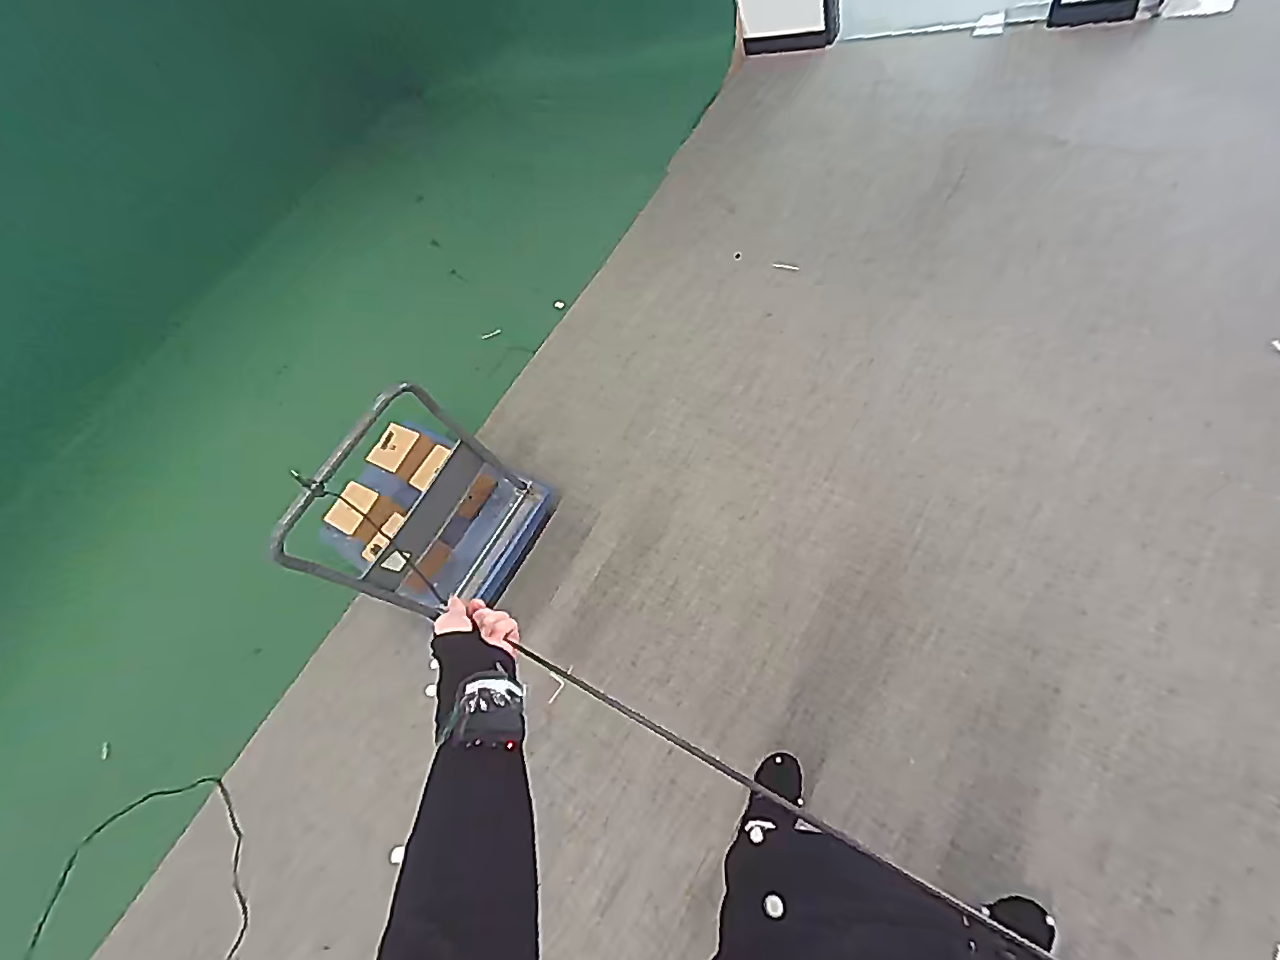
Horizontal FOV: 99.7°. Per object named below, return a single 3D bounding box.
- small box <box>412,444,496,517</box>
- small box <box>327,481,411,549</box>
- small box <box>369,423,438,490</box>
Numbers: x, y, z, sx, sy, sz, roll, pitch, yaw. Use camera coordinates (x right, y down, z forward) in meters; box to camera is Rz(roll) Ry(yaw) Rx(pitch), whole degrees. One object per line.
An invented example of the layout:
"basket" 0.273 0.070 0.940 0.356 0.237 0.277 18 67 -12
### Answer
"small box" -0.638 0.007 1.866 0.179 0.176 0.168 24 74 31
"small box" -0.964 0.130 1.937 0.179 0.176 0.168 19 71 30
"small box" -0.850 -0.083 2.006 0.179 0.176 0.168 19 72 29
